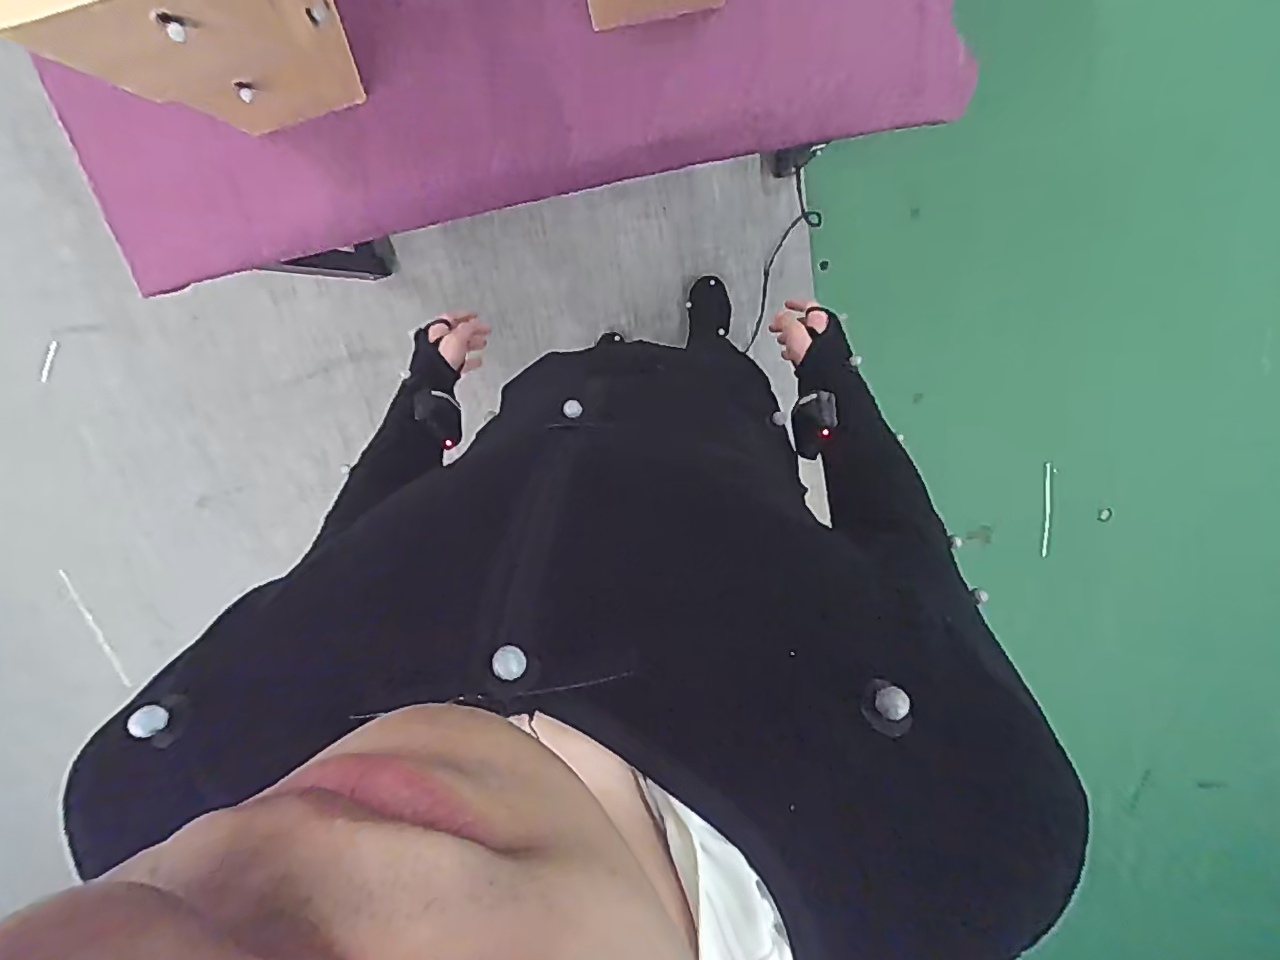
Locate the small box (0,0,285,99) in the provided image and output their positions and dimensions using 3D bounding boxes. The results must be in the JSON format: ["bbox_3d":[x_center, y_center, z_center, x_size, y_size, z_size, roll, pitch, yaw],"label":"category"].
[{"bbox_3d":[-0.470,-0.488,0.497,0.179,0.176,0.168,-12,107,4],"label":"small box"}]

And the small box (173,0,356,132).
[{"bbox_3d":[-0.475,-0.552,0.650,0.179,0.176,0.168,-13,108,5],"label":"small box"}]

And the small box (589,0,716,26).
[{"bbox_3d":[0.011,-0.658,0.611,0.179,0.176,0.168,-9,108,3],"label":"small box"}]

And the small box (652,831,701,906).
[{"bbox_3d":[0.136,1.457,2.034,0.179,0.176,0.168,-2,108,1],"label":"small box"}]
